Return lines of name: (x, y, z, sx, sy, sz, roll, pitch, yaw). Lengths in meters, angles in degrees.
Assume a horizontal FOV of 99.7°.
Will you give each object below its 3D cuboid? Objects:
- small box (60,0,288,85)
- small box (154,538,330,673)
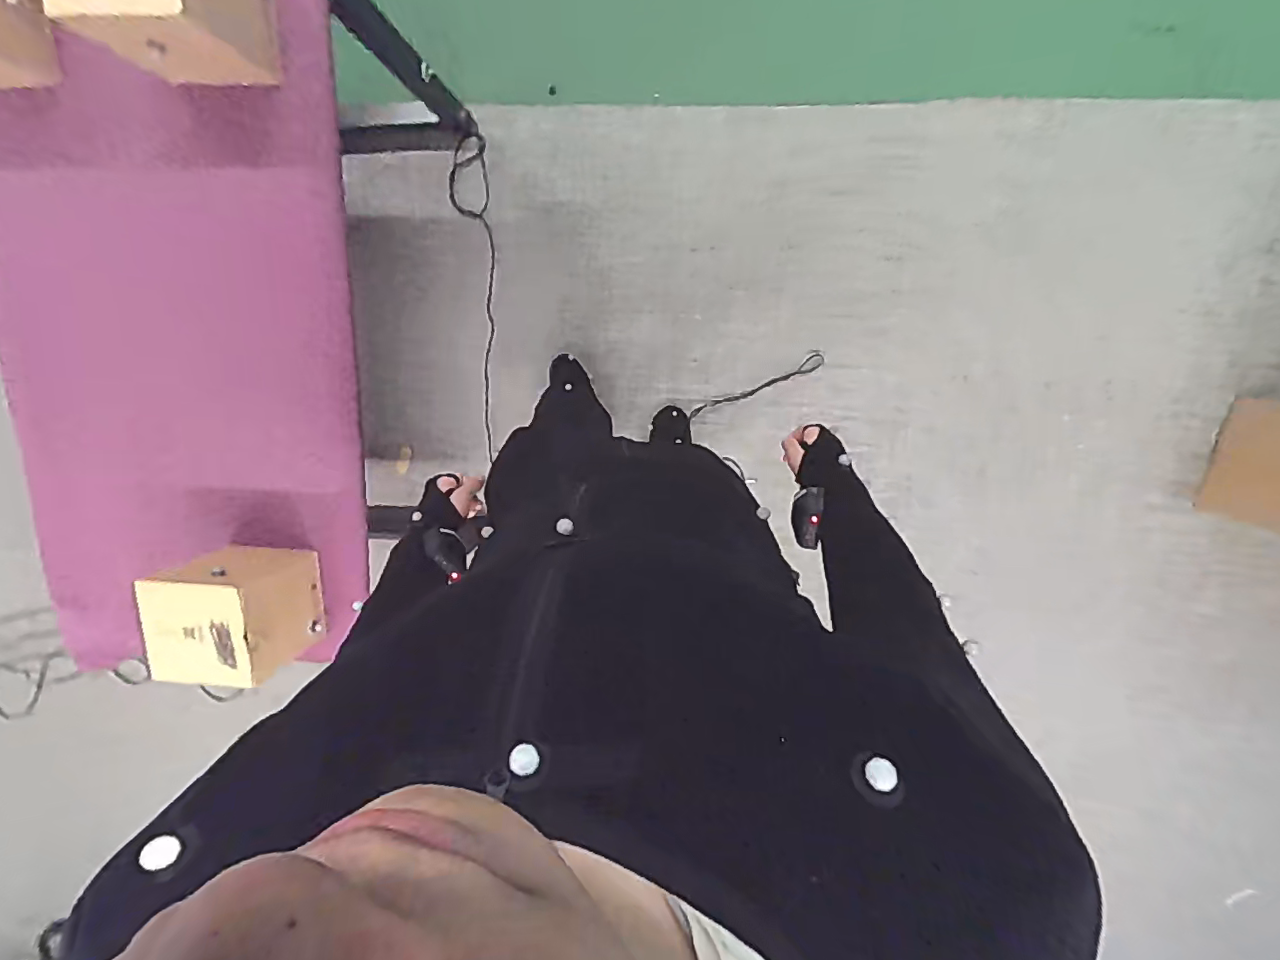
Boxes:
small box: (-0.615, -0.656, 0.720, 0.179, 0.176, 0.168, 3, 104, 5)
small box: (-0.660, 0.205, 0.922, 0.179, 0.176, 0.168, 2, 103, 7)
